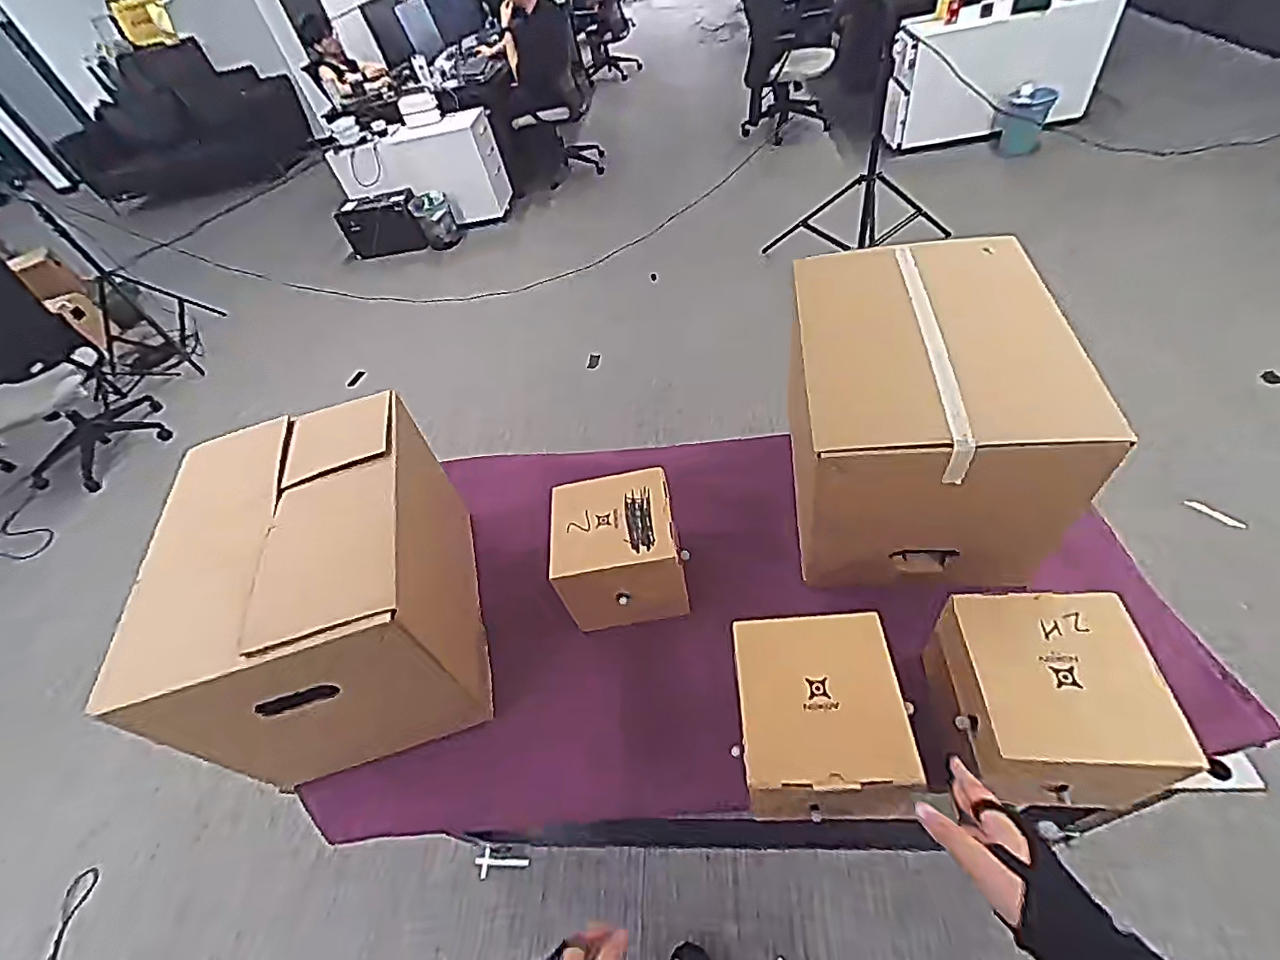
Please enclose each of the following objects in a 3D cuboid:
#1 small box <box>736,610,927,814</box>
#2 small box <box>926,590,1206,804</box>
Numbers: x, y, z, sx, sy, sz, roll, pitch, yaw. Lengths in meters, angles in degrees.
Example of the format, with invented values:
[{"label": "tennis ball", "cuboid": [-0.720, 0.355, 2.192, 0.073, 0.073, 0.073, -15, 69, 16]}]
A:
[{"label": "small box", "cuboid": [0.202, 0.271, 0.627, 0.168, 0.176, 0.179, -6, 49, 8]}, {"label": "small box", "cuboid": [0.435, 0.239, 0.594, 0.168, 0.176, 0.179, -3, 47, 12]}]
